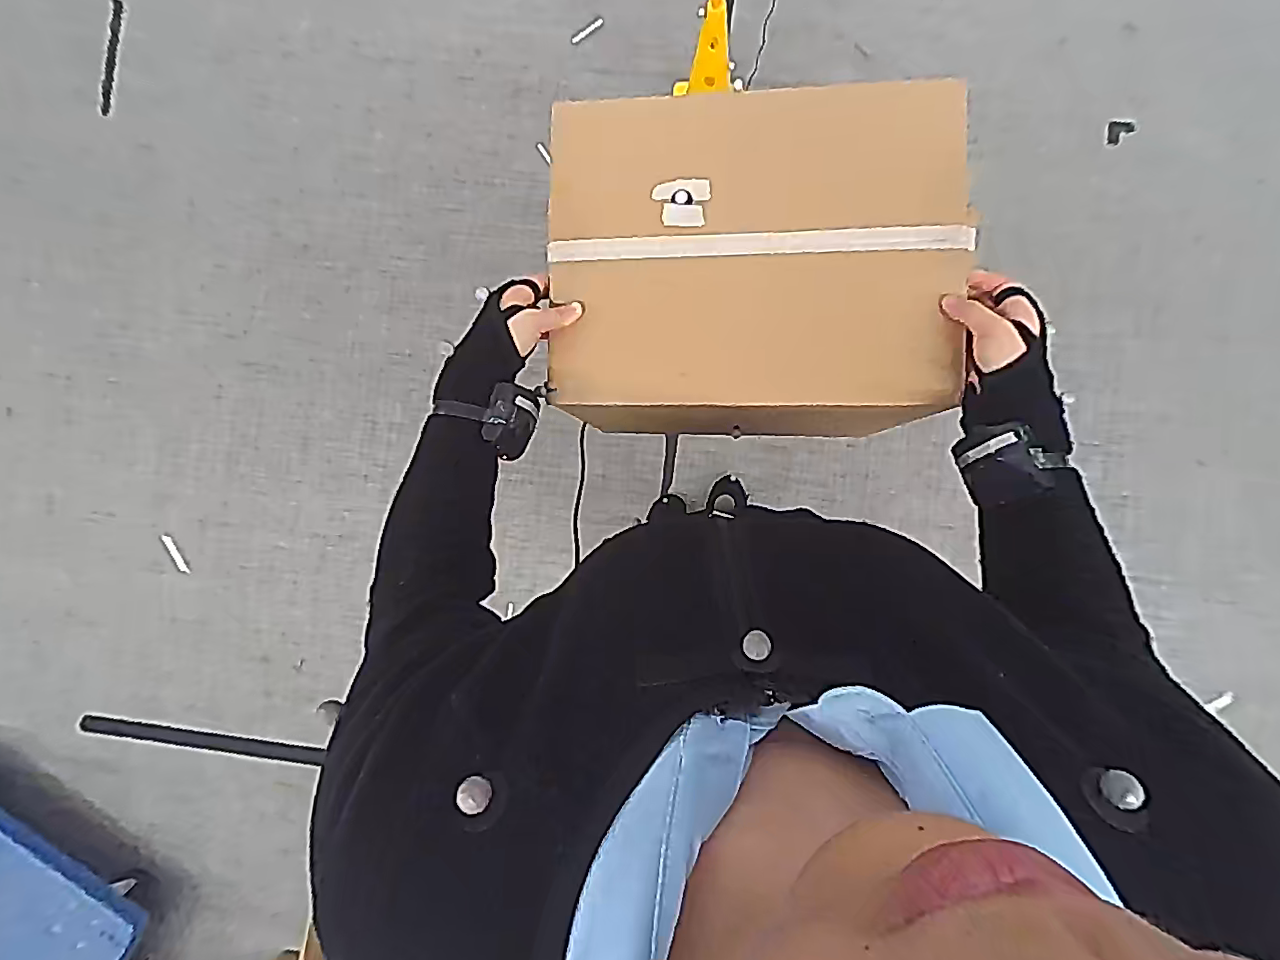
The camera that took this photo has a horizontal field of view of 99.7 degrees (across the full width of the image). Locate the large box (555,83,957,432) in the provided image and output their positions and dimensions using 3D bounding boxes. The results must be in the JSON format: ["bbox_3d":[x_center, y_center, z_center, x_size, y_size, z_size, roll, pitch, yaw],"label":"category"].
[{"bbox_3d":[0.129,-0.229,0.692,0.408,0.320,0.320,1,88,8],"label":"large box"}]
